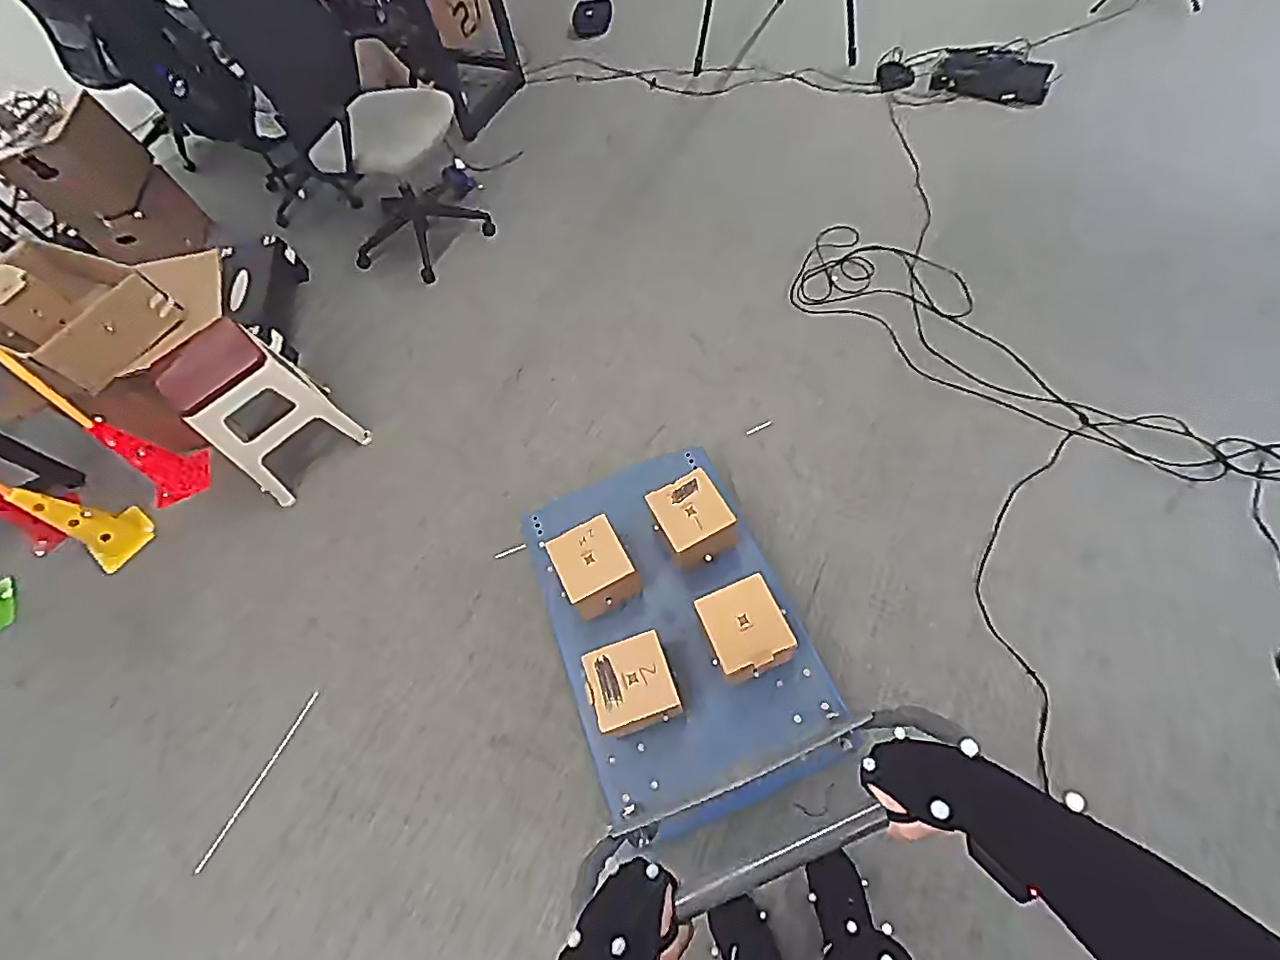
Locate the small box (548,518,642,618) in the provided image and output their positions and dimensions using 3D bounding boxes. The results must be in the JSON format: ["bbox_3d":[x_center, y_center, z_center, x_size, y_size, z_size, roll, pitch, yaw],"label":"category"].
[{"bbox_3d":[-0.107,0.229,1.355,0.168,0.176,0.179,-26,61,-8],"label":"small box"}]

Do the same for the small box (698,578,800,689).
[{"bbox_3d":[0.241,0.355,1.237,0.168,0.176,0.179,-22,61,-4],"label":"small box"}]

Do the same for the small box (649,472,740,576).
[{"bbox_3d":[0.138,0.116,1.382,0.168,0.176,0.179,-27,62,-6],"label":"small box"}]
